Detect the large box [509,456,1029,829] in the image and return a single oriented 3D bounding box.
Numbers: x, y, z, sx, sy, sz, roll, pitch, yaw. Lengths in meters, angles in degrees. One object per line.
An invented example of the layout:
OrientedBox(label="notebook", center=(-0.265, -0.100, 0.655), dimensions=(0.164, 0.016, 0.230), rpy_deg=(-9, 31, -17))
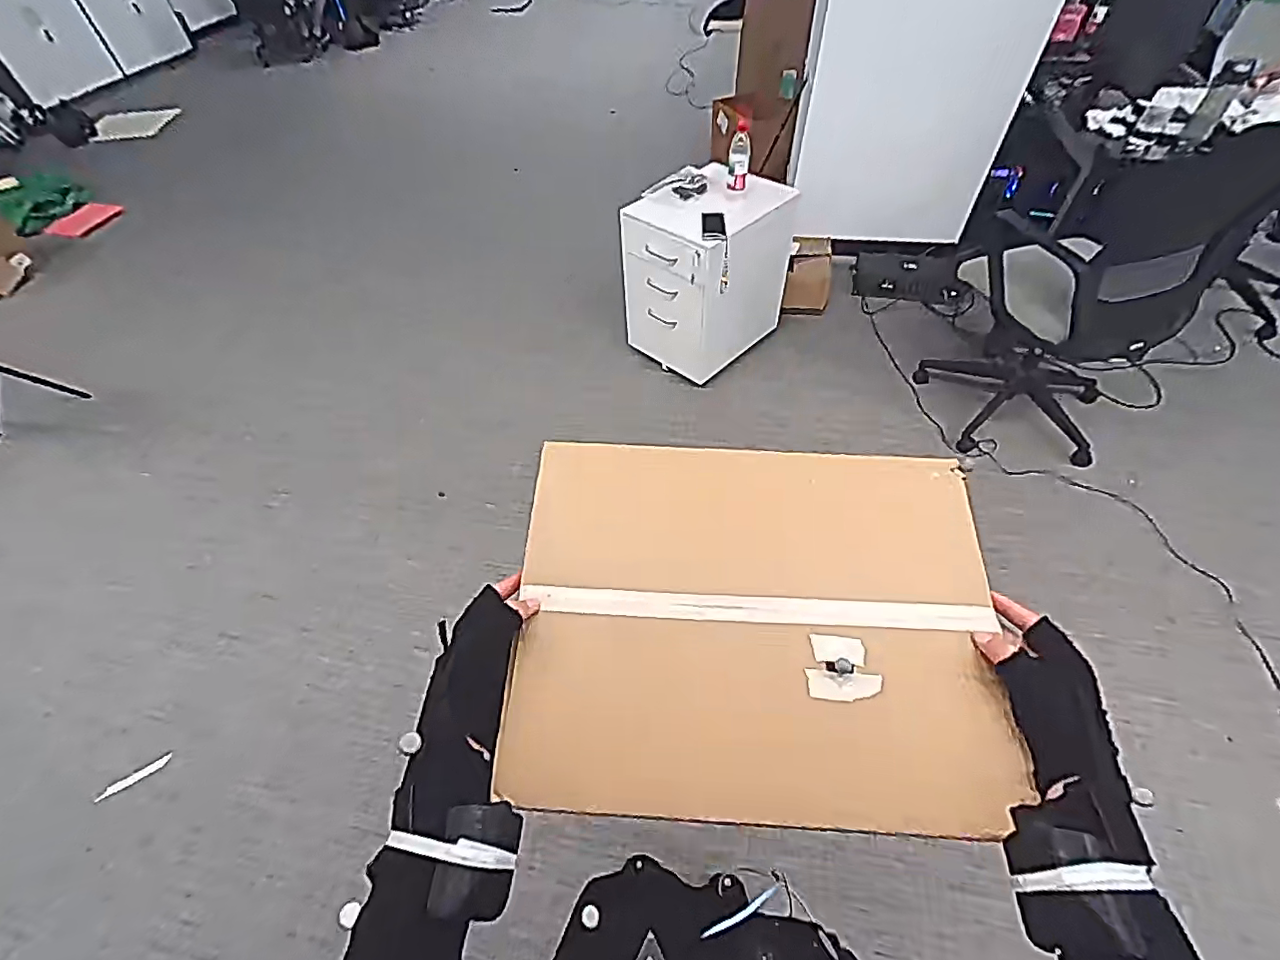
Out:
OrientedBox(label="large box", center=(0.100, 0.185, 0.607), dimensions=(0.408, 0.320, 0.320), rpy_deg=(2, 64, 2))
